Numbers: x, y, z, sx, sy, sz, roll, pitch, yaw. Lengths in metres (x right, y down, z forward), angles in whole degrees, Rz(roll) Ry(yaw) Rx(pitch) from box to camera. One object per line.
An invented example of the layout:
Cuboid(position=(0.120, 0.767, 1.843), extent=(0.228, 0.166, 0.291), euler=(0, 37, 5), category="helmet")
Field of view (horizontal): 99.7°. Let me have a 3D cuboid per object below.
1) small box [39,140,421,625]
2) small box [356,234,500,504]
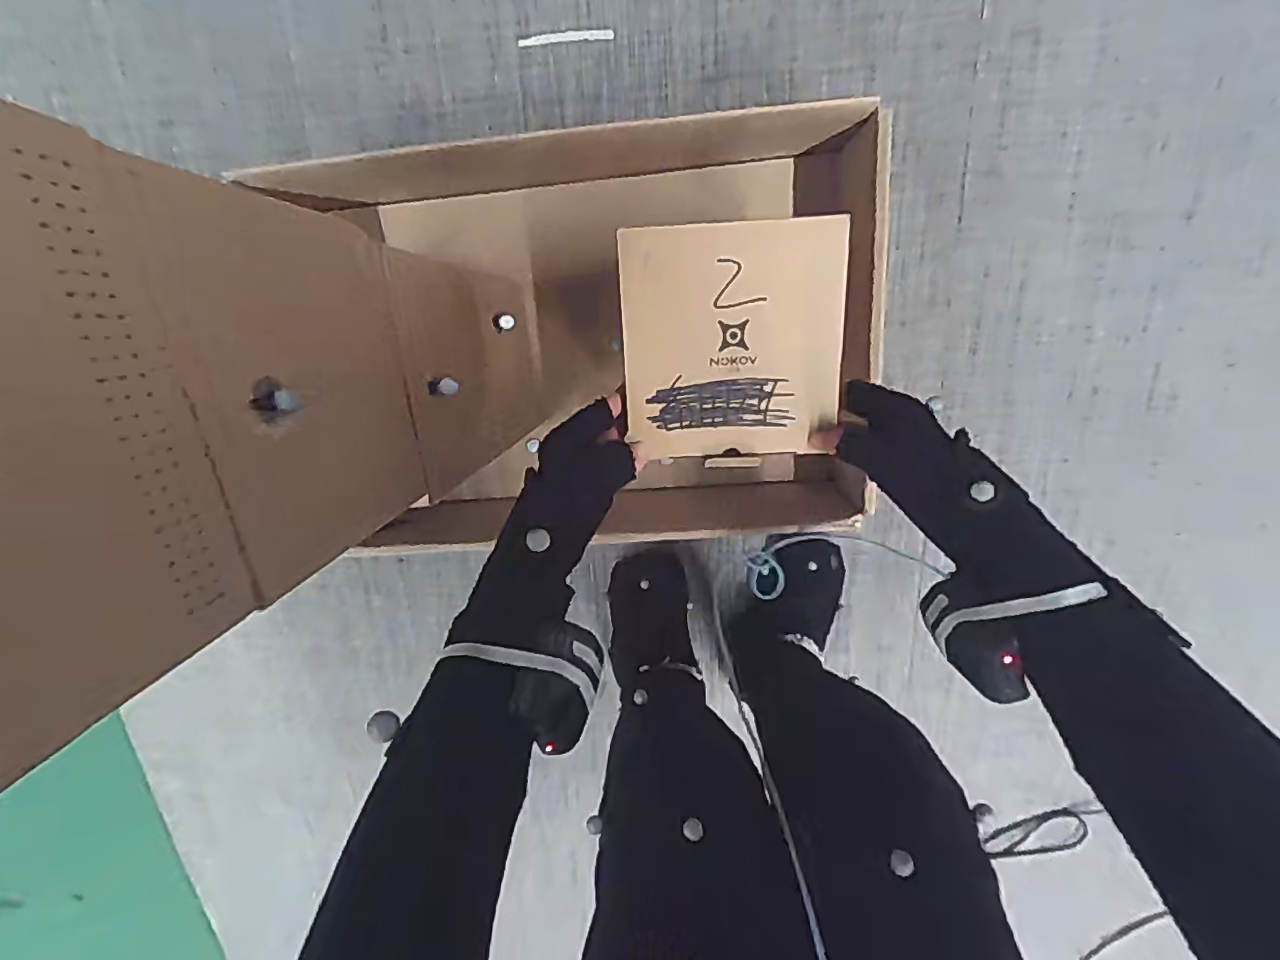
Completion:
Cuboid(position=(-0.237, -0.042, 0.276), extent=(0.168, 0.176, 0.179), euler=(-6, 107, 4), category="small box")
Cuboid(position=(-0.225, -0.085, 0.434), extent=(0.168, 0.176, 0.179), euler=(-4, 107, 4), category="small box")
